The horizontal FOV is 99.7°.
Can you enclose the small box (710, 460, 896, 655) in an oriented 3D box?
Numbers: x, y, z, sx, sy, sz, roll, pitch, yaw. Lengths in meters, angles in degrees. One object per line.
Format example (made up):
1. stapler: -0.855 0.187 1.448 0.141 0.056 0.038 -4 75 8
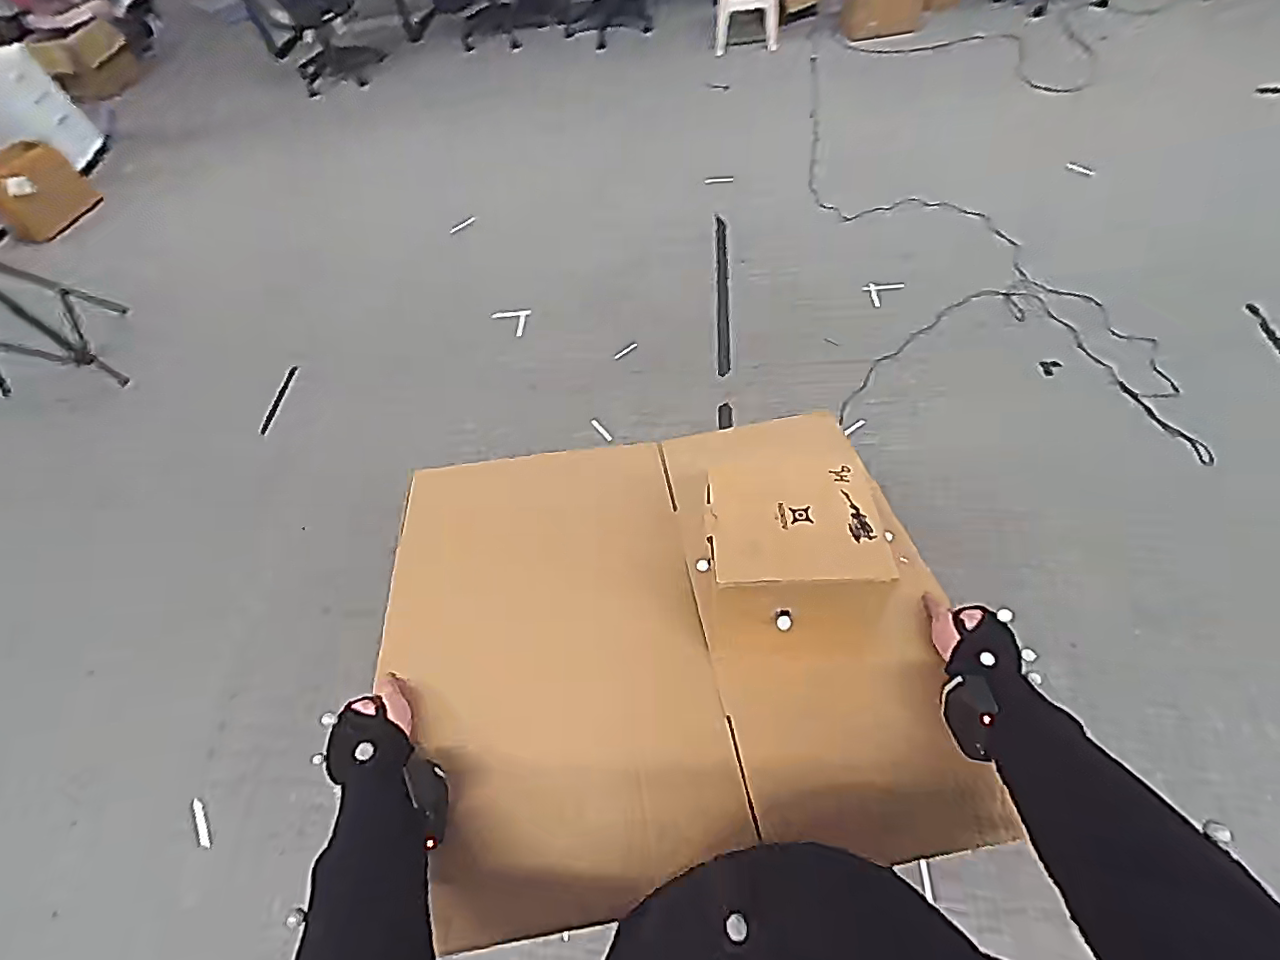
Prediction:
1. small box: 0.177 0.096 0.640 0.179 0.176 0.168 -3 48 7
